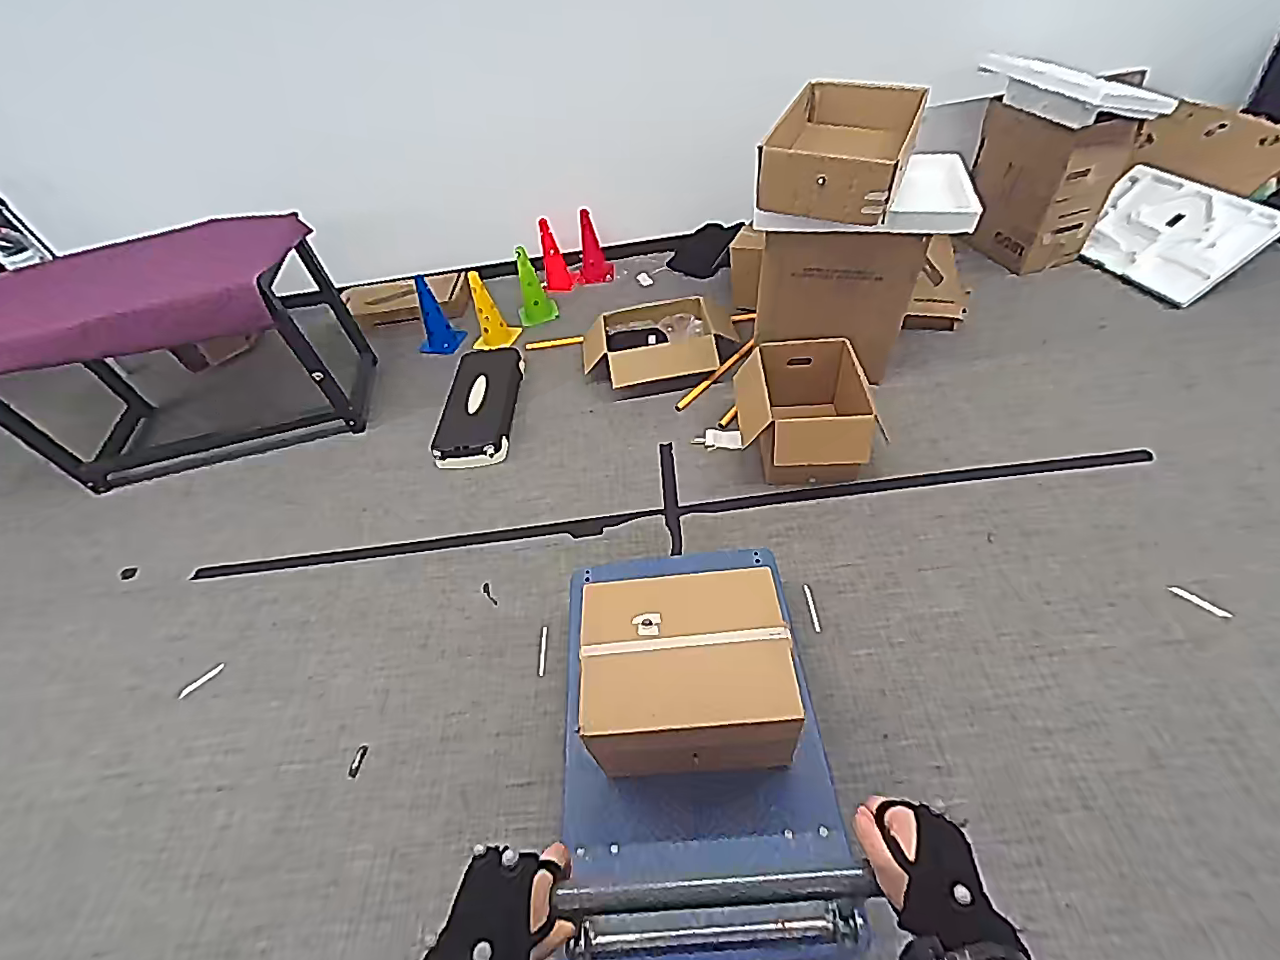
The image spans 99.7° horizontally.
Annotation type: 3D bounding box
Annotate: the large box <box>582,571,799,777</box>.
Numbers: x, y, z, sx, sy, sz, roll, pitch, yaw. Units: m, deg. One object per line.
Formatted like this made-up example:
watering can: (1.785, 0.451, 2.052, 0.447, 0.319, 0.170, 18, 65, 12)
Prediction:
large box: (0.103, 0.433, 1.187, 0.408, 0.320, 0.320, -7, 47, 4)
